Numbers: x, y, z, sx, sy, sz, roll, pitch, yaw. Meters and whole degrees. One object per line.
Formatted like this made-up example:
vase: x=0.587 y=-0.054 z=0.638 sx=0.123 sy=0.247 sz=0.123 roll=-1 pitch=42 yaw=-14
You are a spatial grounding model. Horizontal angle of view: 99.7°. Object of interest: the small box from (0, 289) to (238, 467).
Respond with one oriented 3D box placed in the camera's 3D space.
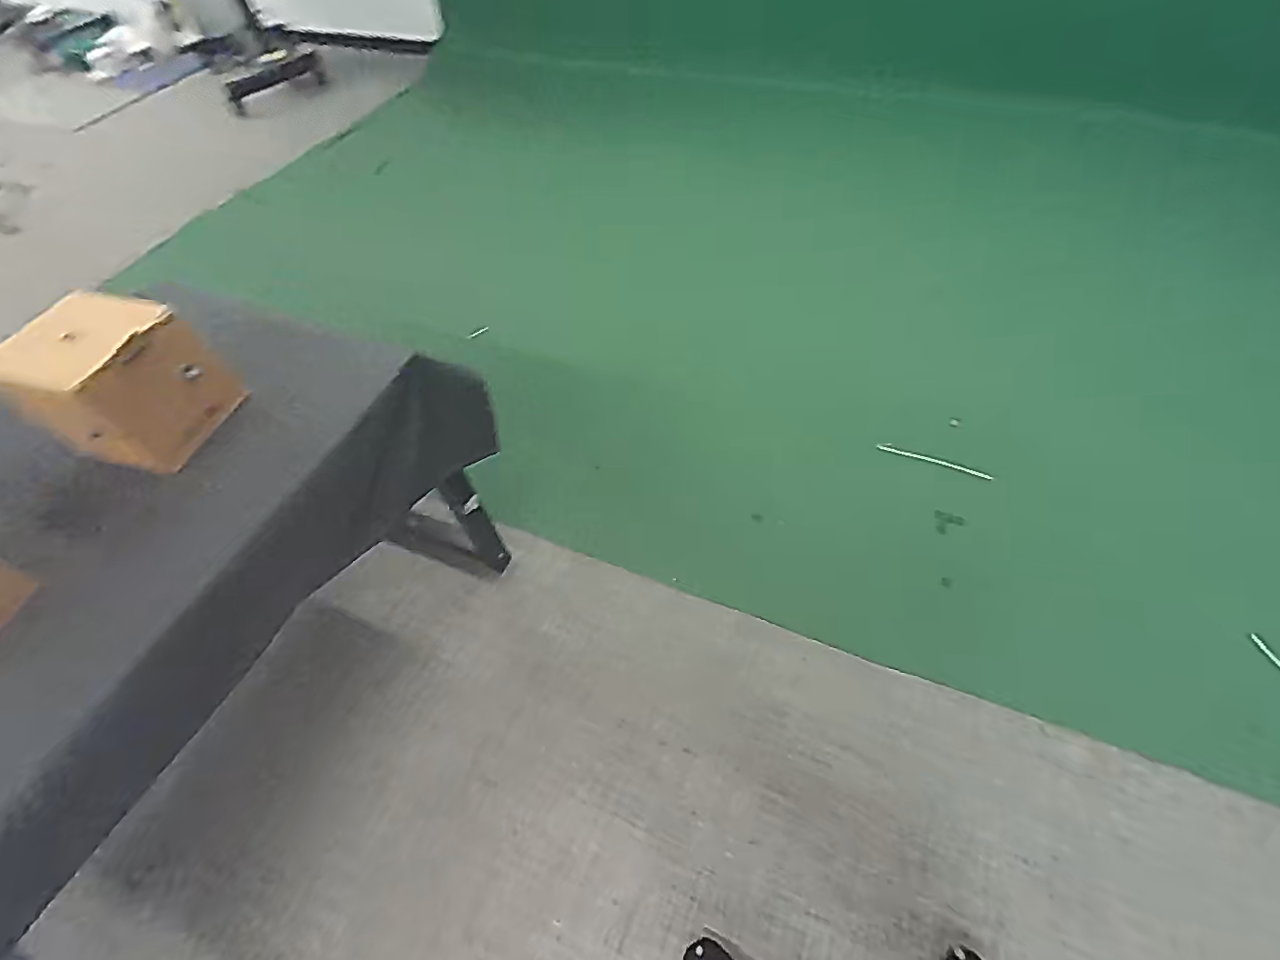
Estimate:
small box: x=-0.725 y=-0.137 z=0.754 sx=0.179 sy=0.176 sz=0.168 roll=10 pitch=55 yaw=12
